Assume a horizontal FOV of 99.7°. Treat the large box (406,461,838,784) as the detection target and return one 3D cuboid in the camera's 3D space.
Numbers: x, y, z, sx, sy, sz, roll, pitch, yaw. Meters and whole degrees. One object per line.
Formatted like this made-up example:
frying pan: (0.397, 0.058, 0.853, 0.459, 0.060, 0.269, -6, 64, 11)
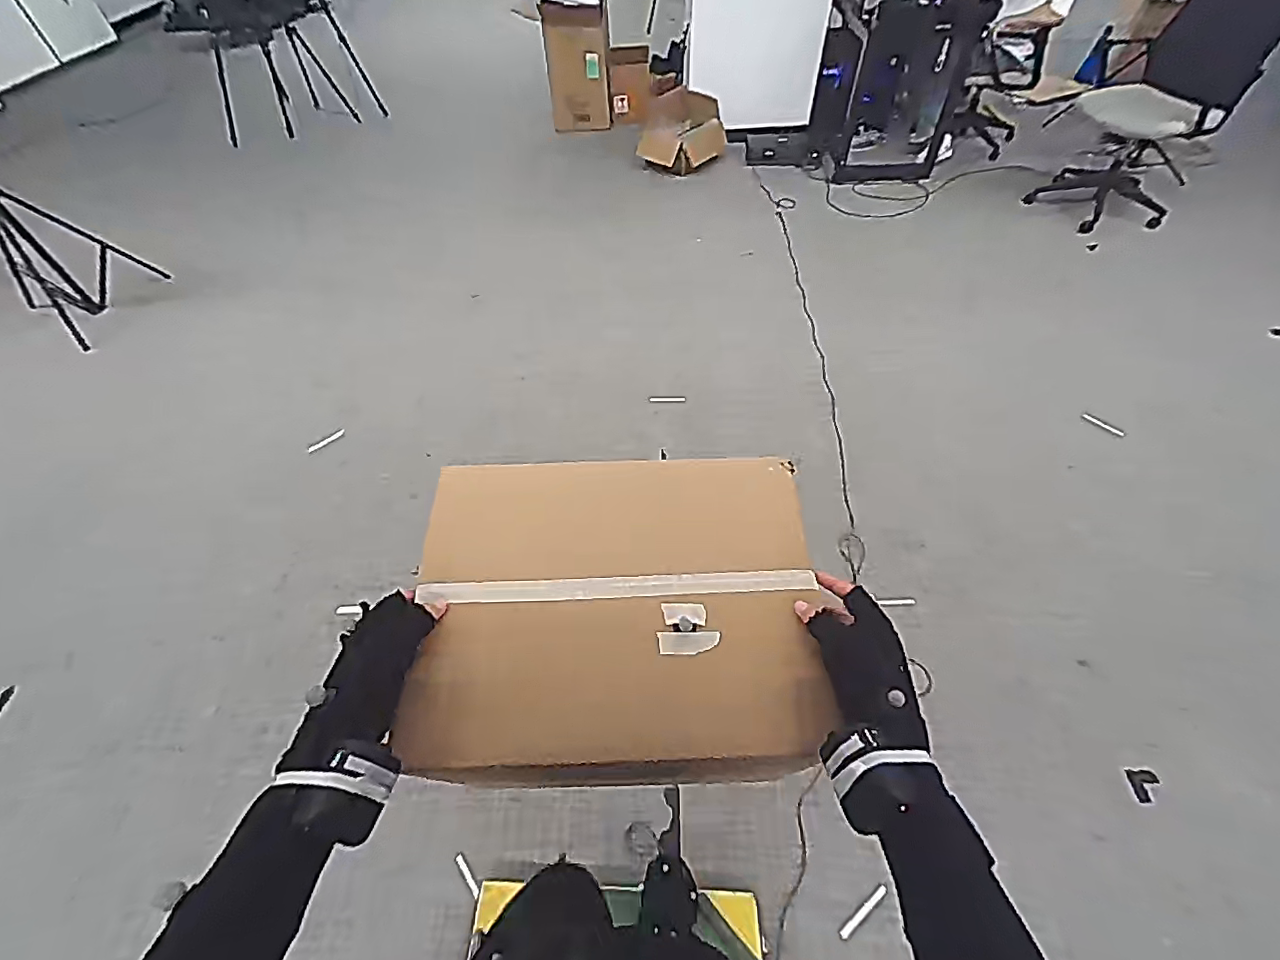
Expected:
large box: (-0.024, 0.193, 0.694, 0.408, 0.320, 0.320, -2, 58, -2)
